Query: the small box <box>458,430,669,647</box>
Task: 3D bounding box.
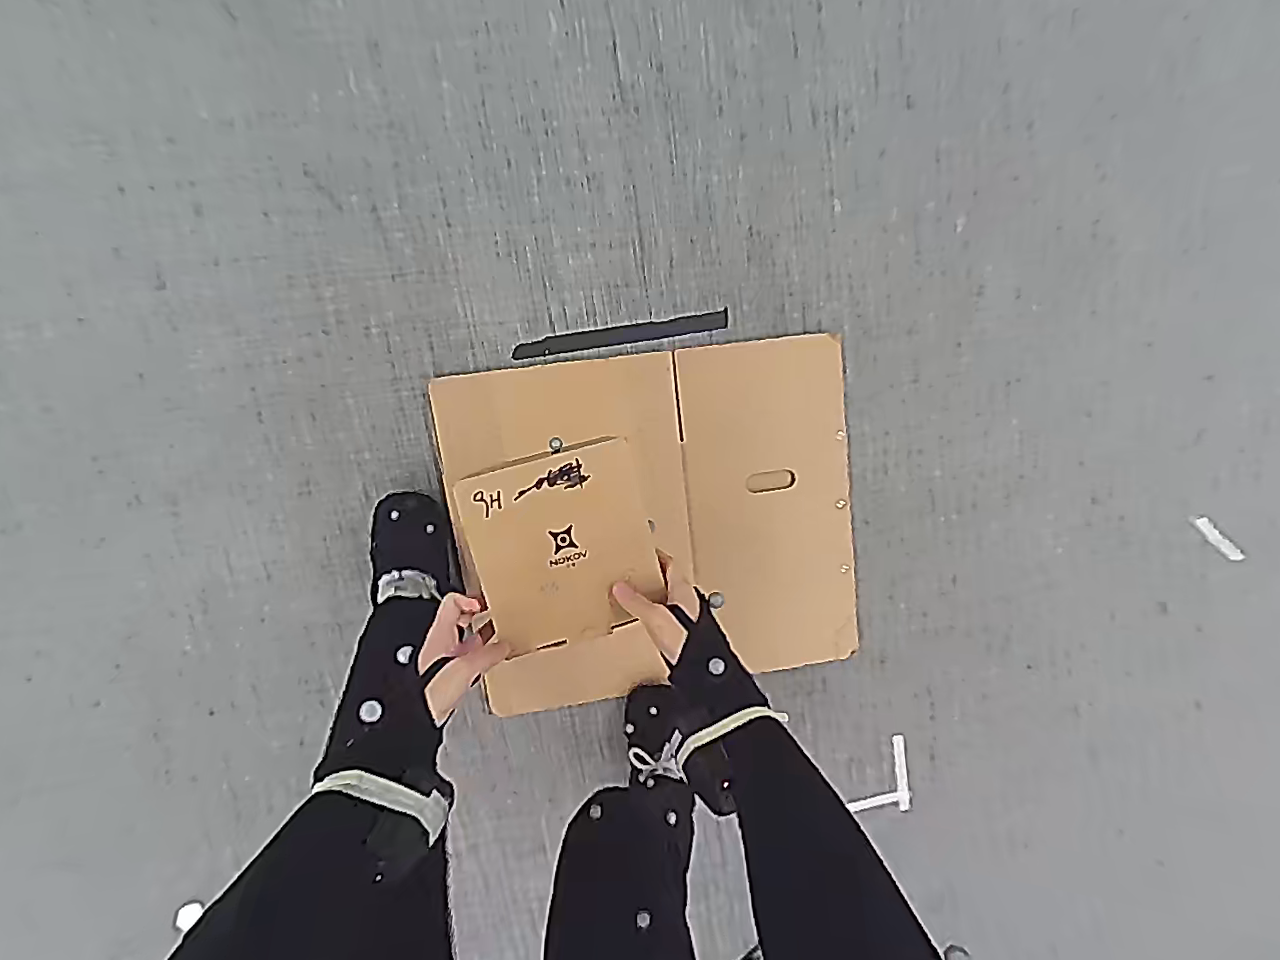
[{"bbox_3d":[-0.078,0.048,0.587,0.168,0.176,0.179,-16,97,-7],"label":"small box"}]
